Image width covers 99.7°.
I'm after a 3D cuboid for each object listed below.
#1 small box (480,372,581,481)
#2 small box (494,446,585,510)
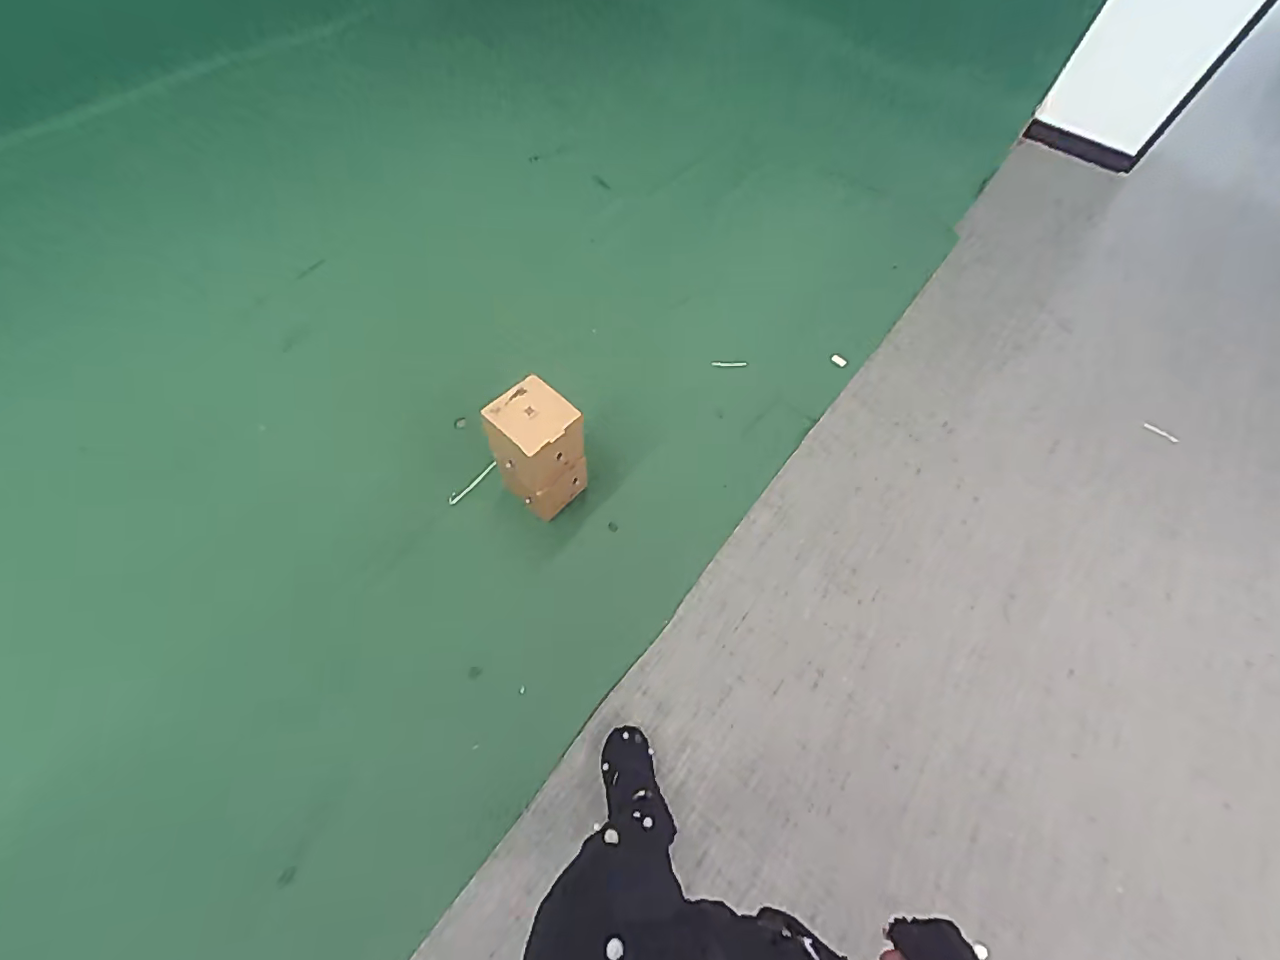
[{"bbox_3d":[-0.258,-0.119,1.316,0.179,0.176,0.168,41,65,16],"label":"small box"},{"bbox_3d":[-0.262,-0.041,1.439,0.179,0.176,0.168,41,64,18],"label":"small box"}]
